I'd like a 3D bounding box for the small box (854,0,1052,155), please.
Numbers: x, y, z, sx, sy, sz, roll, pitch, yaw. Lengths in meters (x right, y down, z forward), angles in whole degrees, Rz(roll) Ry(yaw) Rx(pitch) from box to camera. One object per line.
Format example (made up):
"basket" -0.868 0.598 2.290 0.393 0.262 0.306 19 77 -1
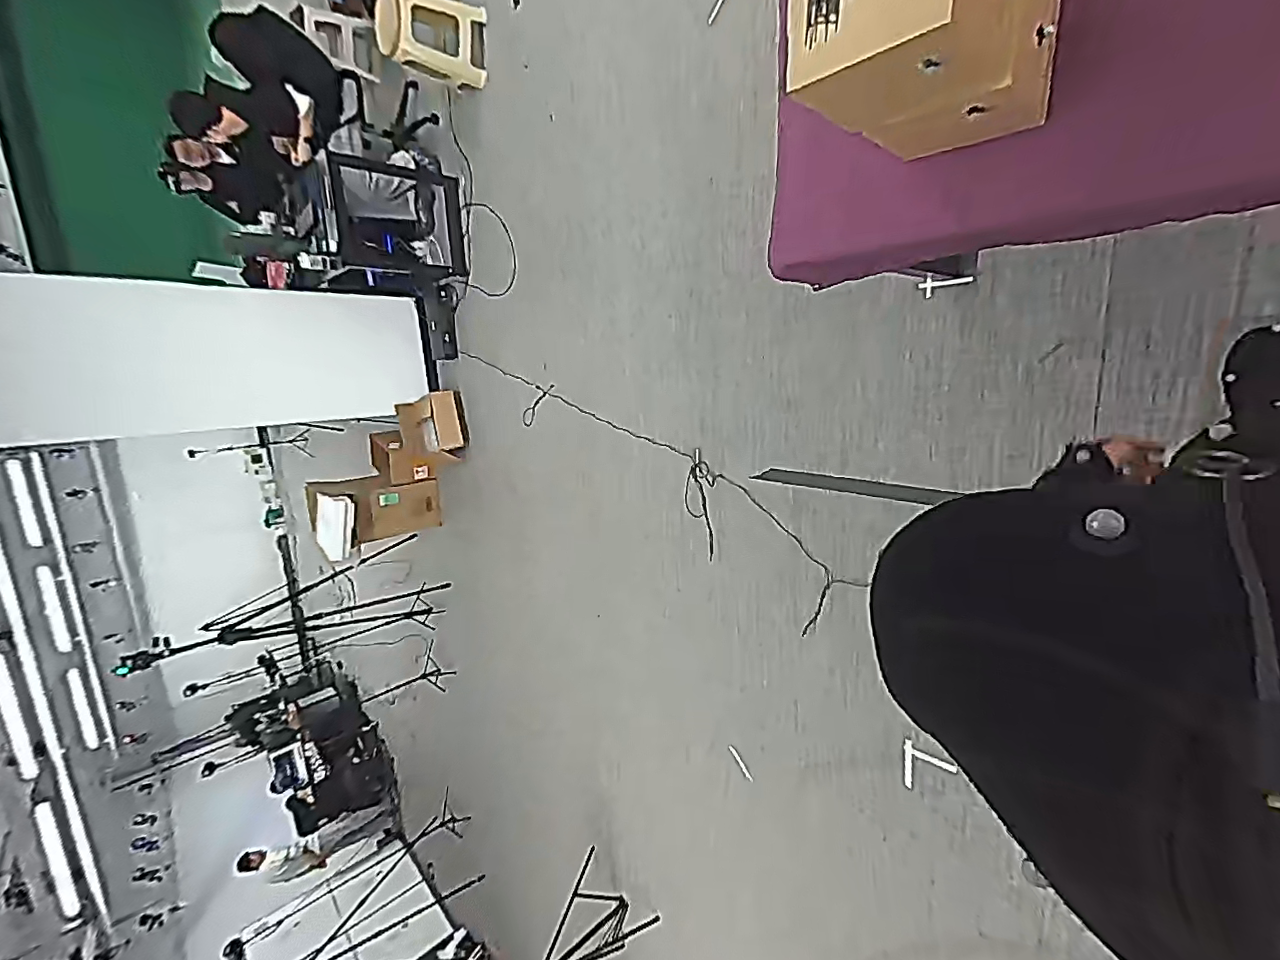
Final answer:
"small box" 0.401 -0.543 0.693 0.179 0.176 0.168 13 109 46
